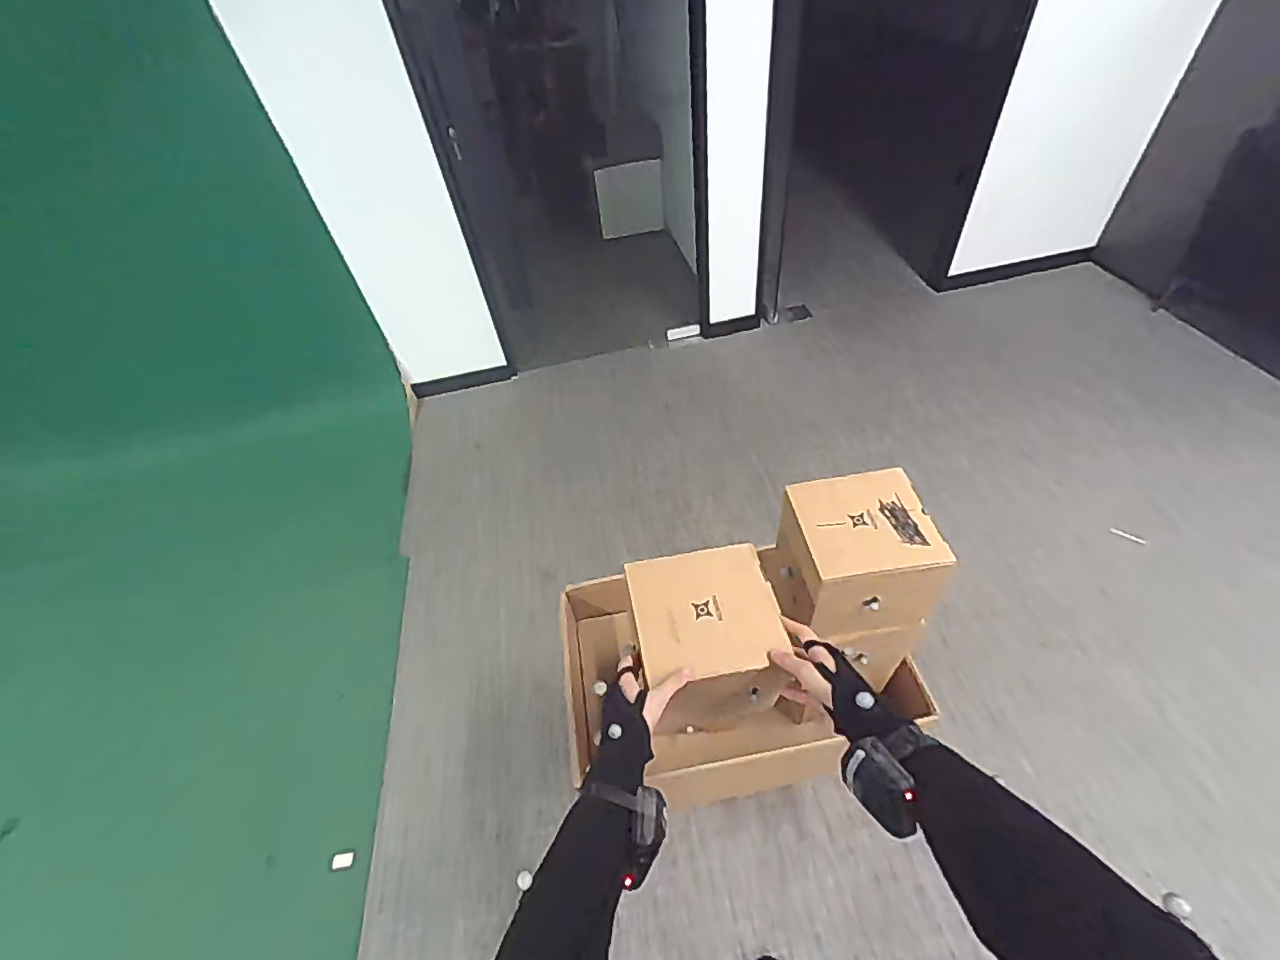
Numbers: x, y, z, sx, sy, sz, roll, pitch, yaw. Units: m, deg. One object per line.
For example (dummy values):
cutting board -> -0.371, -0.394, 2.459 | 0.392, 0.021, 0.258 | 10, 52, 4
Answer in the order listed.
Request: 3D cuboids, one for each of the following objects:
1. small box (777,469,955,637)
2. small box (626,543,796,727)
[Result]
small box -> 0.311, 0.109, 0.788 | 0.179, 0.176, 0.168 | -9, 47, 1
small box -> 0.080, 0.206, 0.711 | 0.179, 0.176, 0.168 | -9, 50, -5
